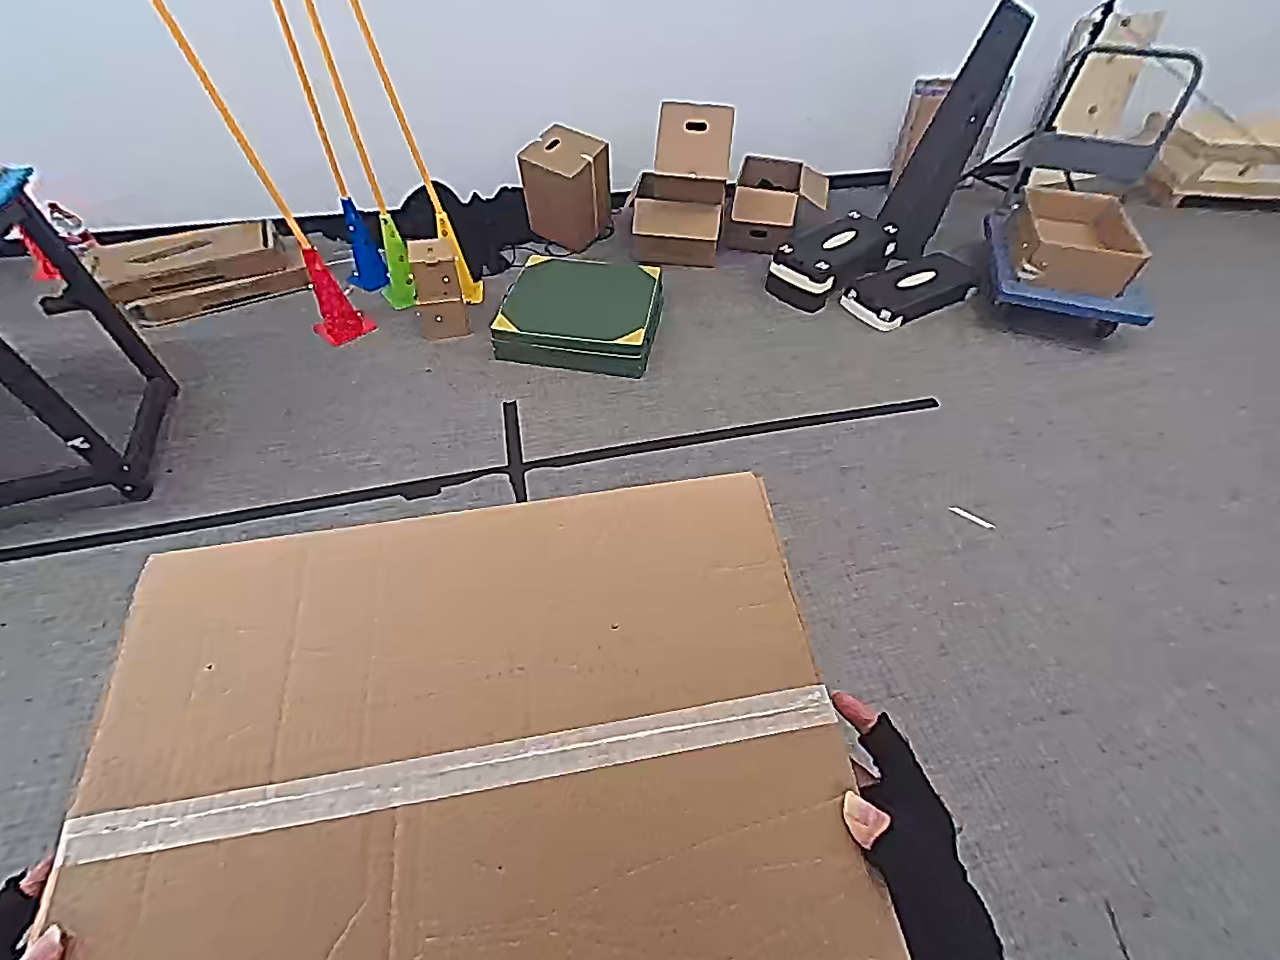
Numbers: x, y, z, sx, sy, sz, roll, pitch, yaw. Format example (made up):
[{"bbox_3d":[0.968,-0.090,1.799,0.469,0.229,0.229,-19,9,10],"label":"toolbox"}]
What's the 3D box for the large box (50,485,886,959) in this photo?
[{"bbox_3d":[-0.094,0.234,0.433,0.408,0.320,0.320,-8,60,-5],"label":"large box"}]
